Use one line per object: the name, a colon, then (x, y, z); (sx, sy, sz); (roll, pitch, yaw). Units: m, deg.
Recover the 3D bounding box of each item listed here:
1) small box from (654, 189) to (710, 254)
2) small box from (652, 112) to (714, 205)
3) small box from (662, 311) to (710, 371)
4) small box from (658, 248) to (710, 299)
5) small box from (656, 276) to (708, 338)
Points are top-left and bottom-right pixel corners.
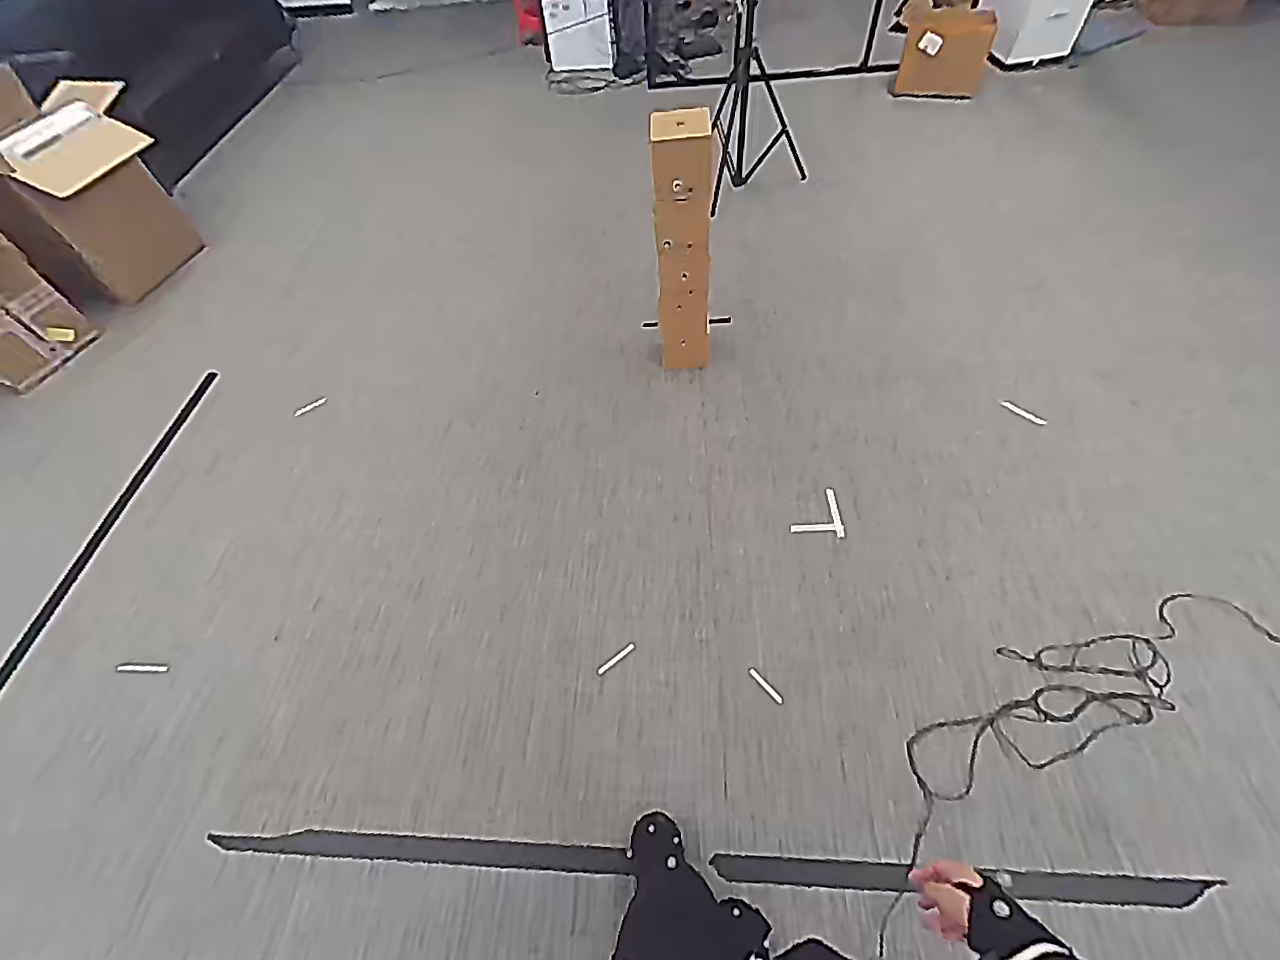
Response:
small box: (0.133, -0.817, 1.668); (0.168, 0.176, 0.179); (-1, 54, 6)
small box: (0.123, -0.910, 1.536); (0.168, 0.176, 0.179); (-3, 56, 5)
small box: (0.174, -0.531, 2.066); (0.179, 0.176, 0.168); (-1, 55, 5)
small box: (0.150, -0.720, 1.800); (0.168, 0.176, 0.179); (0, 56, 6)
small box: (0.154, -0.623, 1.931); (0.179, 0.176, 0.168); (1, 56, 7)
